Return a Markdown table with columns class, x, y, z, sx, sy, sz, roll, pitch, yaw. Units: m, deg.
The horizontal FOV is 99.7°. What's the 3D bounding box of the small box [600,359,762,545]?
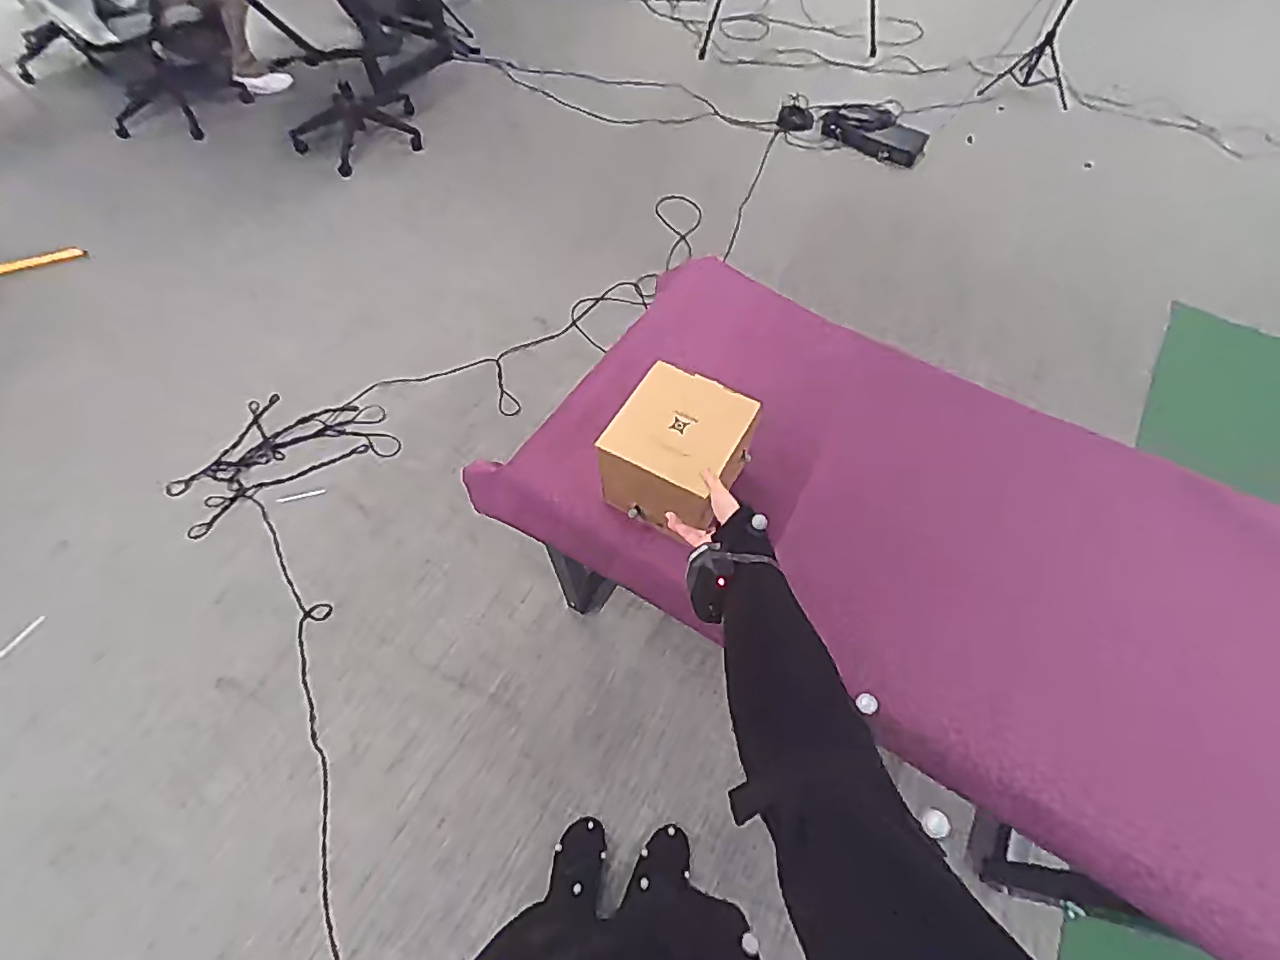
| class | x | y | z | sx | sy | sz | roll | pitch | yaw |
| --- | --- | --- | --- | --- | --- | --- | --- | --- | --- |
| small box | 0.056 | -0.037 | 0.797 | 0.168 | 0.176 | 0.179 | 27 | 63 | 15 |
